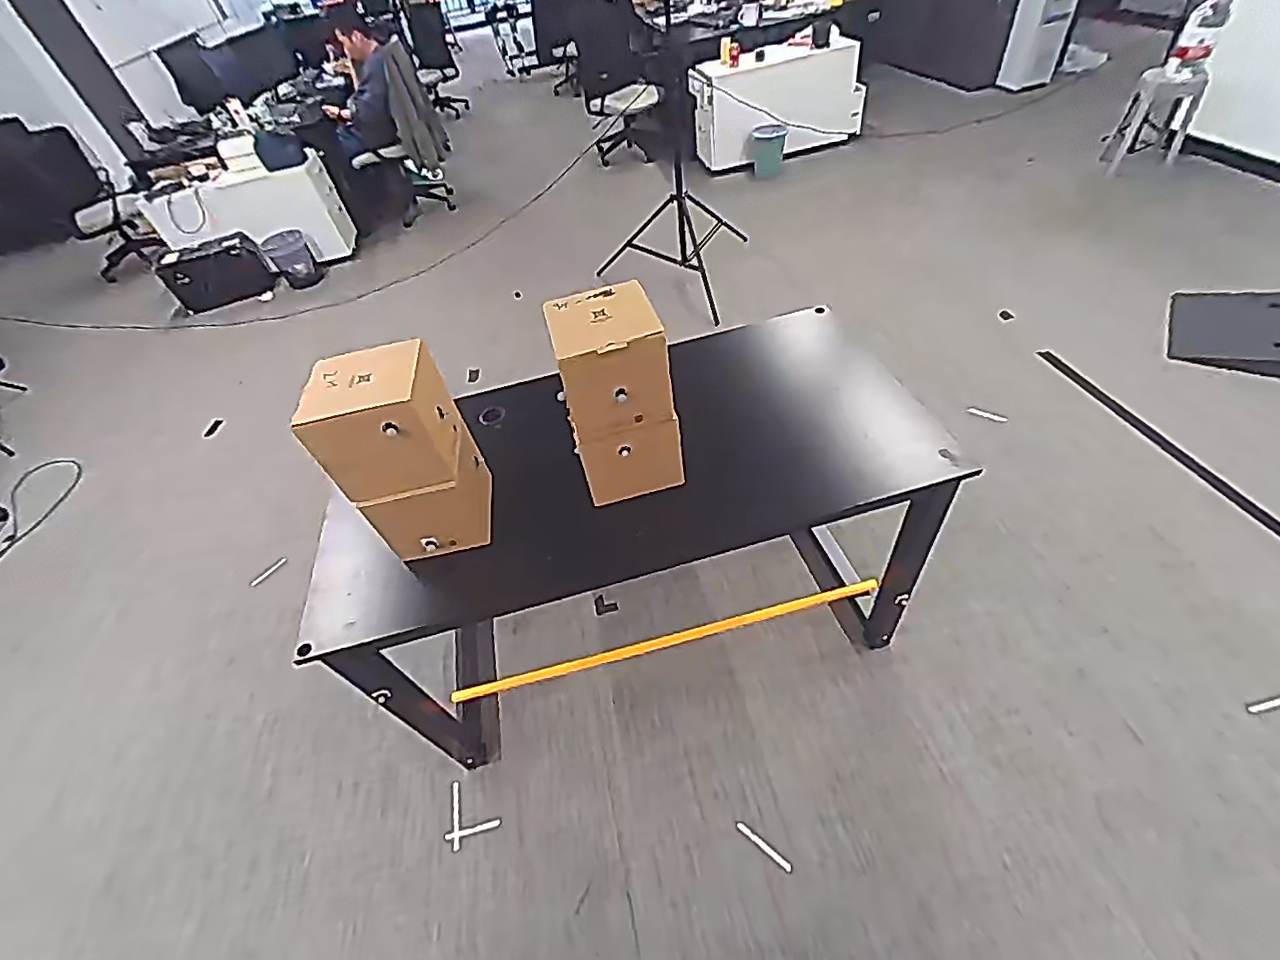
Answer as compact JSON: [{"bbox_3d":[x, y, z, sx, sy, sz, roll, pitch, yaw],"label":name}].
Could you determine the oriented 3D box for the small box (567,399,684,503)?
[{"bbox_3d":[-0.025,-0.079,1.010,0.179,0.176,0.168,-15,47,-4],"label":"small box"}]

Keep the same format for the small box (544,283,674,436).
[{"bbox_3d":[-0.048,-0.191,0.892,0.168,0.176,0.179,-16,48,-4],"label":"small box"}]

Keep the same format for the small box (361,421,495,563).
[{"bbox_3d":[-0.372,0.023,0.983,0.168,0.176,0.179,-13,48,0],"label":"small box"}]

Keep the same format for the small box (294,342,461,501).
[{"bbox_3d":[-0.401,-0.090,0.866,0.179,0.176,0.168,-13,46,0],"label":"small box"}]
